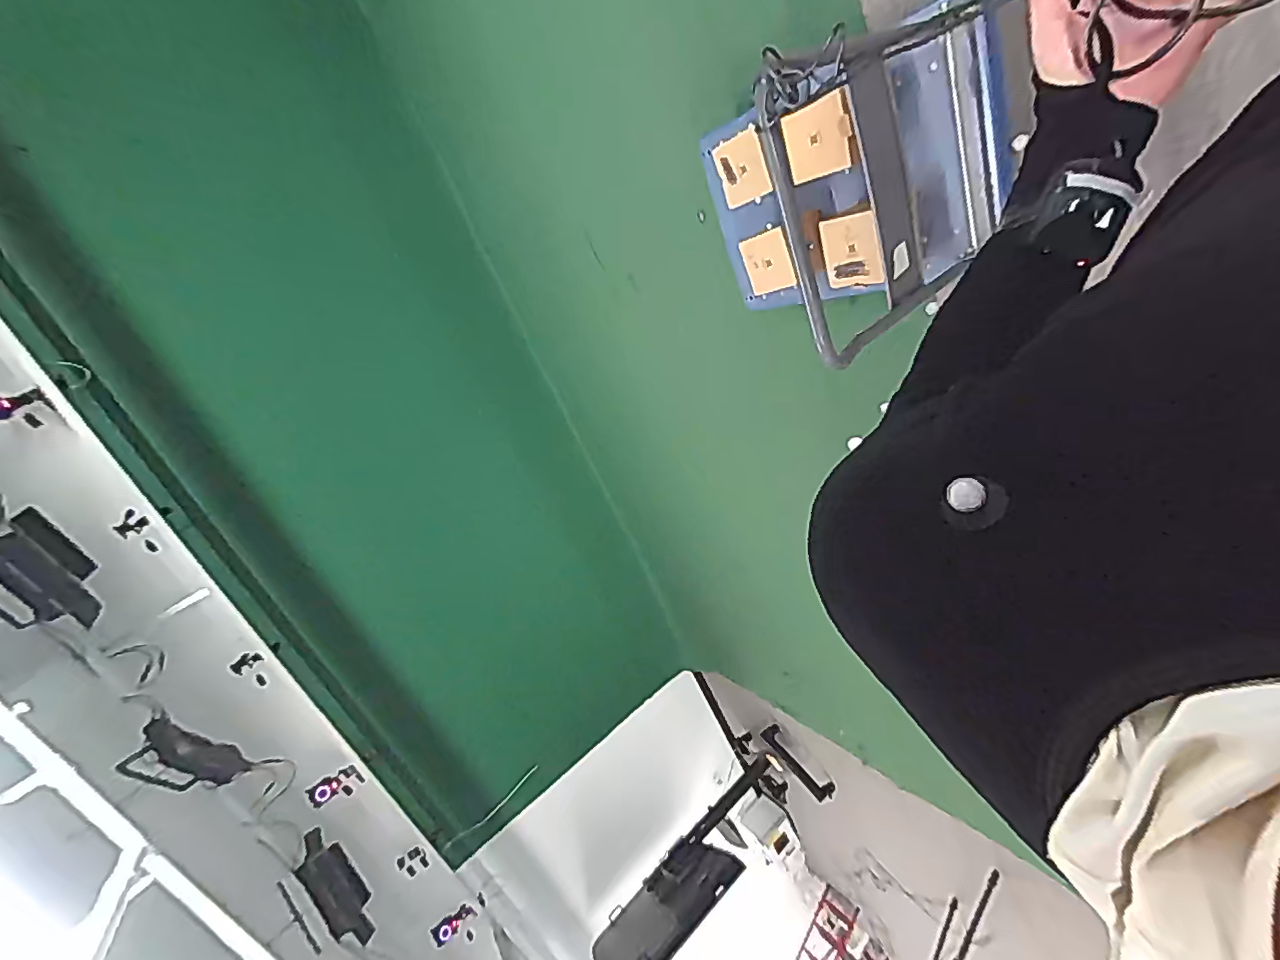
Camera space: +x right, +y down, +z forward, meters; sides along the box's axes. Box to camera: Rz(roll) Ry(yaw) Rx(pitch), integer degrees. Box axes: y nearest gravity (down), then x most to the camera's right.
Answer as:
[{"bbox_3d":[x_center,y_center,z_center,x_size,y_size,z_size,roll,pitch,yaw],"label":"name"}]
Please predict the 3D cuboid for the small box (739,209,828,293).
[{"bbox_3d":[0.436,-0.683,1.615,0.179,0.176,0.168,11,130,58],"label":"small box"}]

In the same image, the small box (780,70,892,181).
[{"bbox_3d":[0.478,-0.857,1.315,0.179,0.176,0.168,17,136,54],"label":"small box"}]

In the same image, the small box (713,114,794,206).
[{"bbox_3d":[0.341,-0.898,1.516,0.179,0.176,0.168,12,132,56],"label":"small box"}]
